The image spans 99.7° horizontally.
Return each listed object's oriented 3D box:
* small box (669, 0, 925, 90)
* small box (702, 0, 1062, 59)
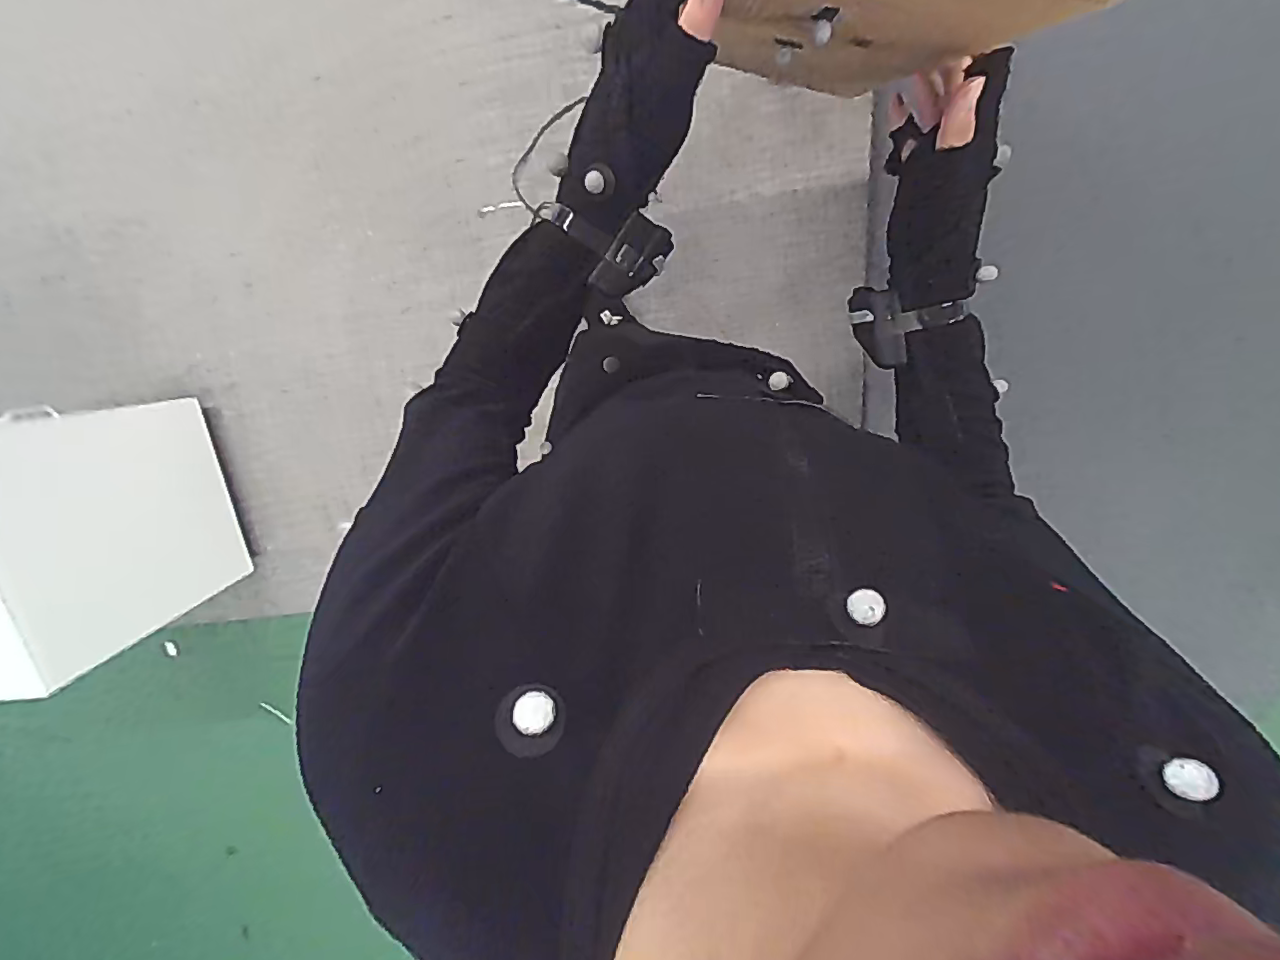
[{"bbox_3d":[0.124,-0.408,0.393,0.179,0.176,0.168,8,118,-8],"label":"small box"},{"bbox_3d":[0.126,-0.332,0.250,0.168,0.176,0.179,7,118,-6],"label":"small box"}]
